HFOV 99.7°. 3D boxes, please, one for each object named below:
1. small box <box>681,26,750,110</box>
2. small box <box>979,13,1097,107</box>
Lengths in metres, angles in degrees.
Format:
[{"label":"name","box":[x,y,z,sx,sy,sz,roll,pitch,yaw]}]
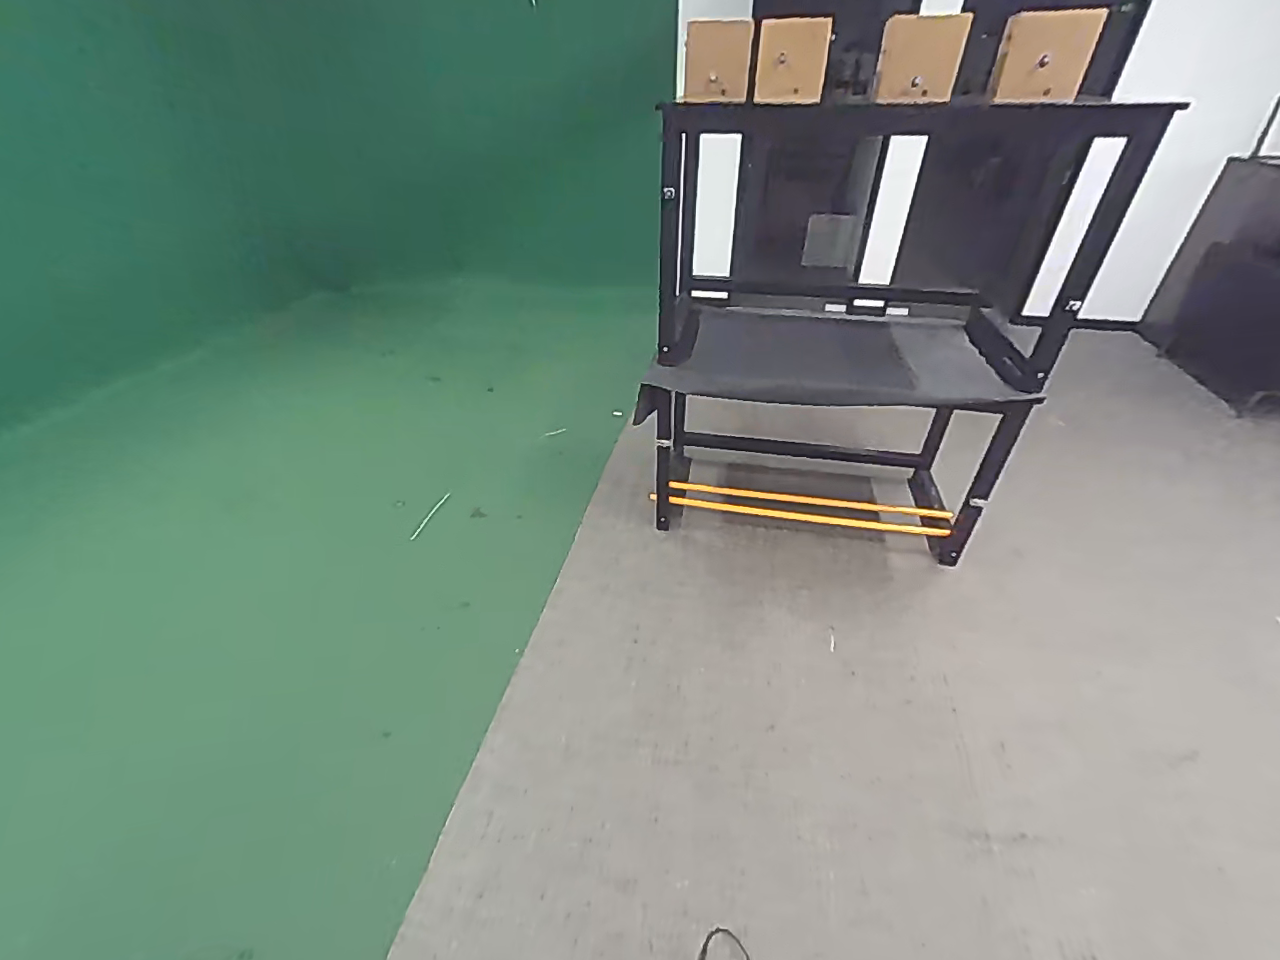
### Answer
[{"label":"small box","box":[0.201,-1.100,1.447,0.168,0.176,0.179,6,37,8]},{"label":"small box","box":[0.945,-1.004,1.302,0.168,0.176,0.179,12,38,16]}]
